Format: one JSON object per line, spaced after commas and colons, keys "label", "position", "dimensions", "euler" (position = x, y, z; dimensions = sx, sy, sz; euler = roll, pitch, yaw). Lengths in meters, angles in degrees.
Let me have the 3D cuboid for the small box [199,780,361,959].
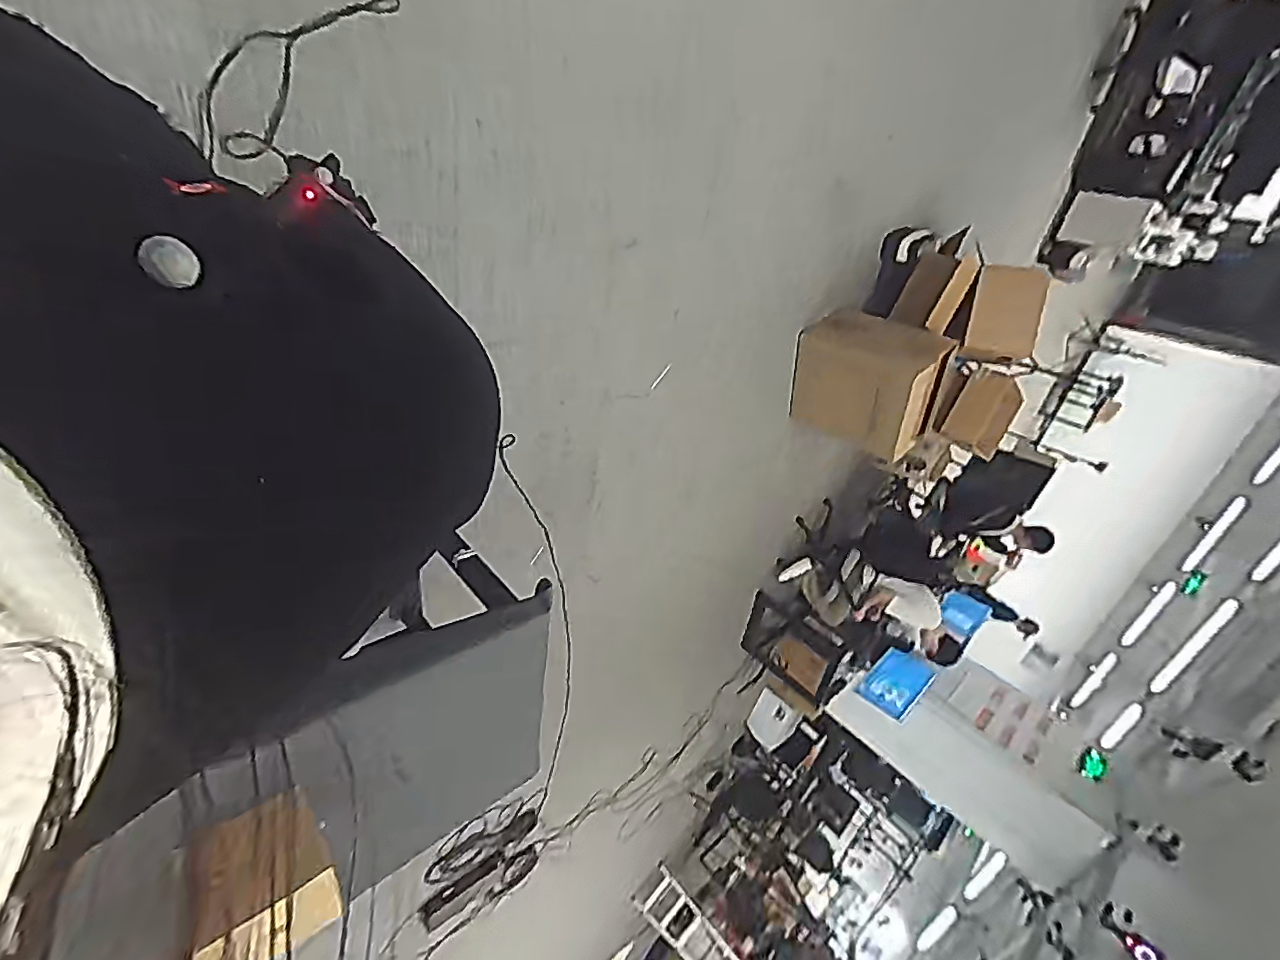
{"label": "small box", "position": [-0.586, 0.643, 0.881], "dimensions": [0.179, 0.176, 0.168], "euler": [-21, 133, -40]}
